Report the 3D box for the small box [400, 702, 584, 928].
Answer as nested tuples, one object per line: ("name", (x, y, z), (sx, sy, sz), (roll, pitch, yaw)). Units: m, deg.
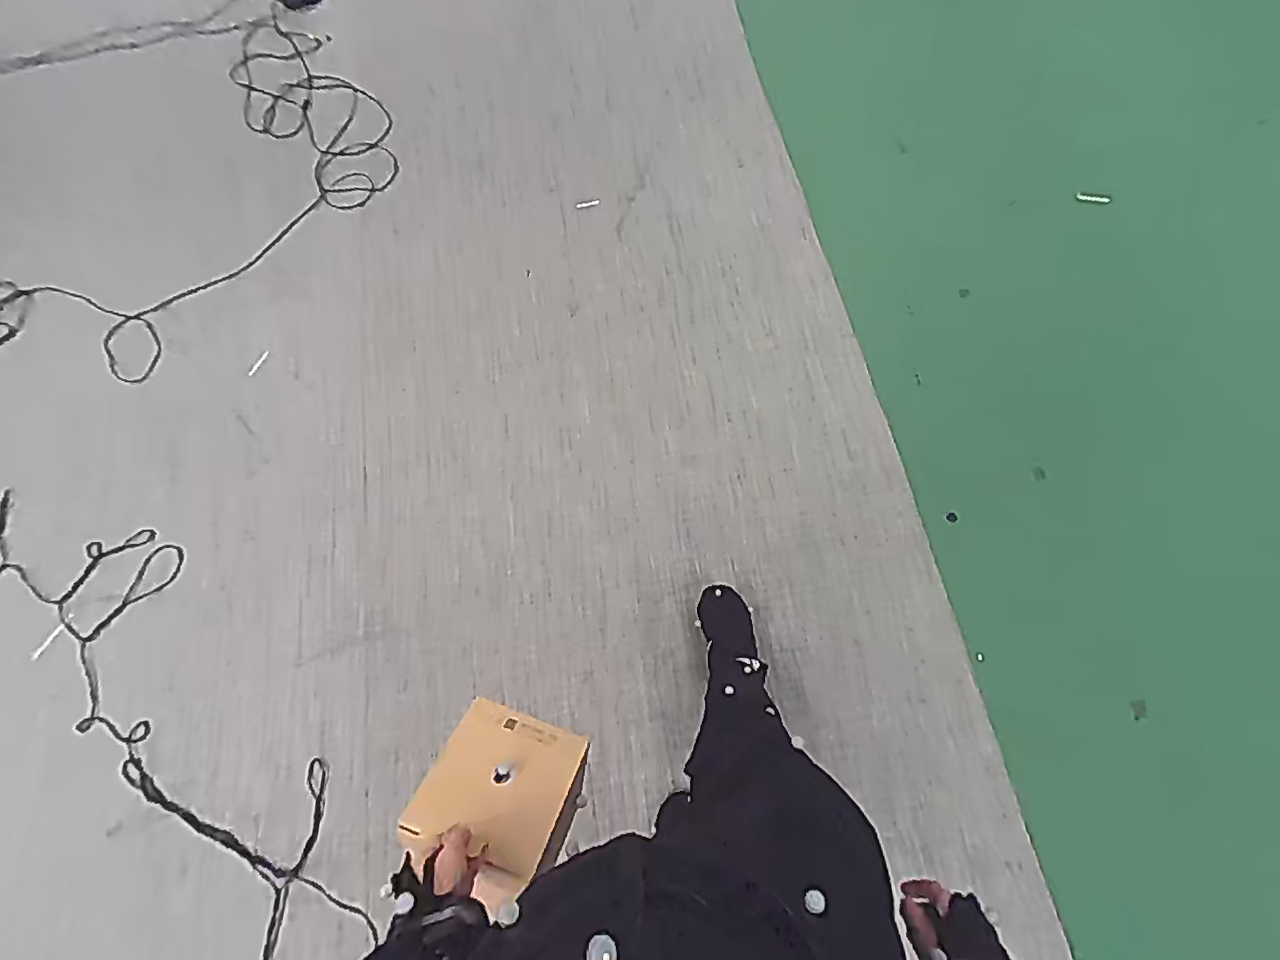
("small box", (-0.179, 0.422, 0.697), (0.168, 0.179, 0.176), (16, 35, 9))
